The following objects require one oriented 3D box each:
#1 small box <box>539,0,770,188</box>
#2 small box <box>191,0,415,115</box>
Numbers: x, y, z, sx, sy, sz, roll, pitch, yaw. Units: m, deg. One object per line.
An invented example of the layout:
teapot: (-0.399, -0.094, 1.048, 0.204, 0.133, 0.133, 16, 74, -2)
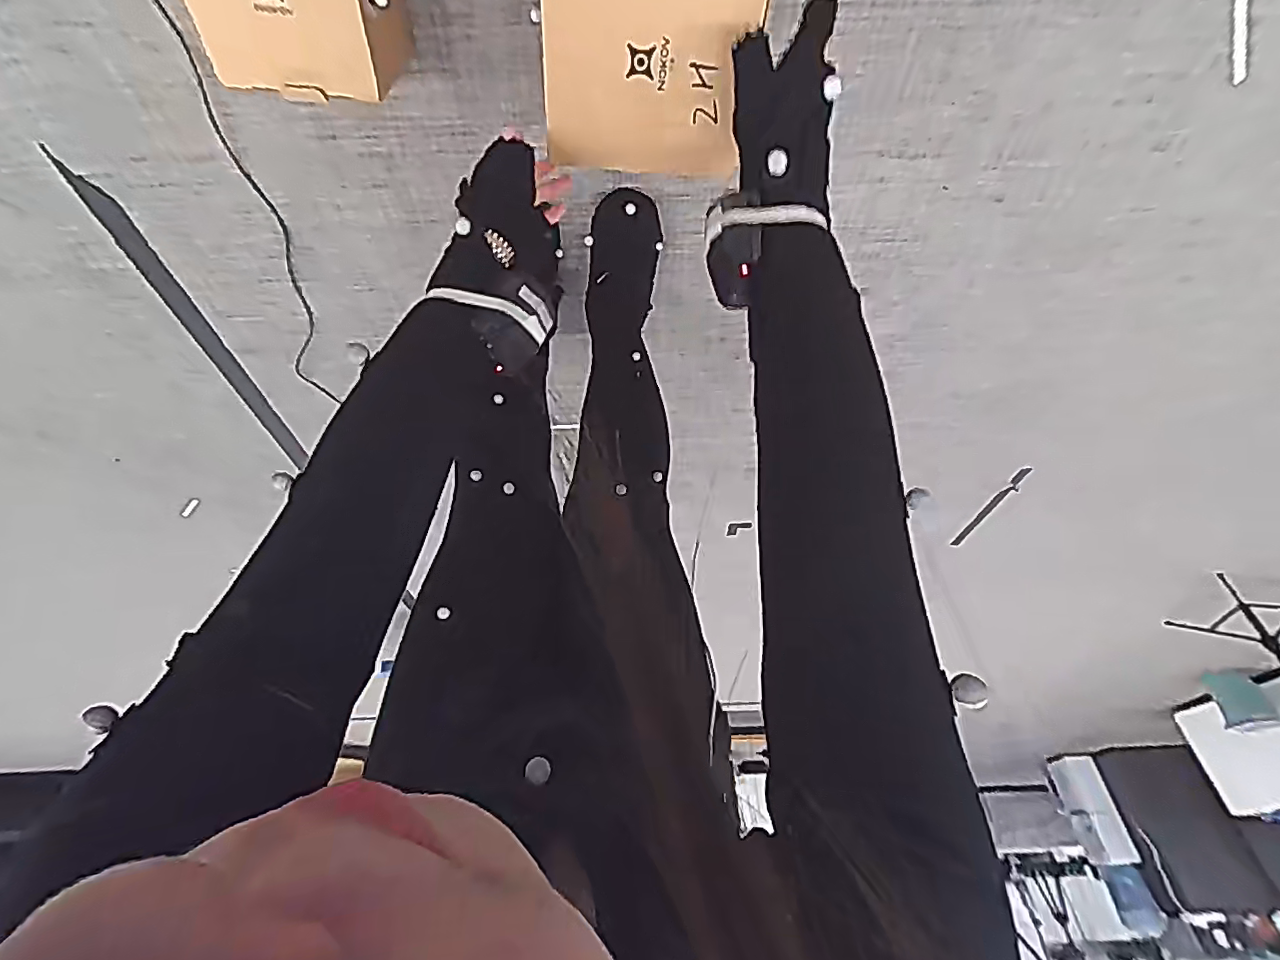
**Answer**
small box: (0.005, -0.394, 0.492, 0.179, 0.176, 0.168, 1, 143, -6)
small box: (-0.353, -0.526, 0.574, 0.168, 0.176, 0.179, 2, 142, -7)
